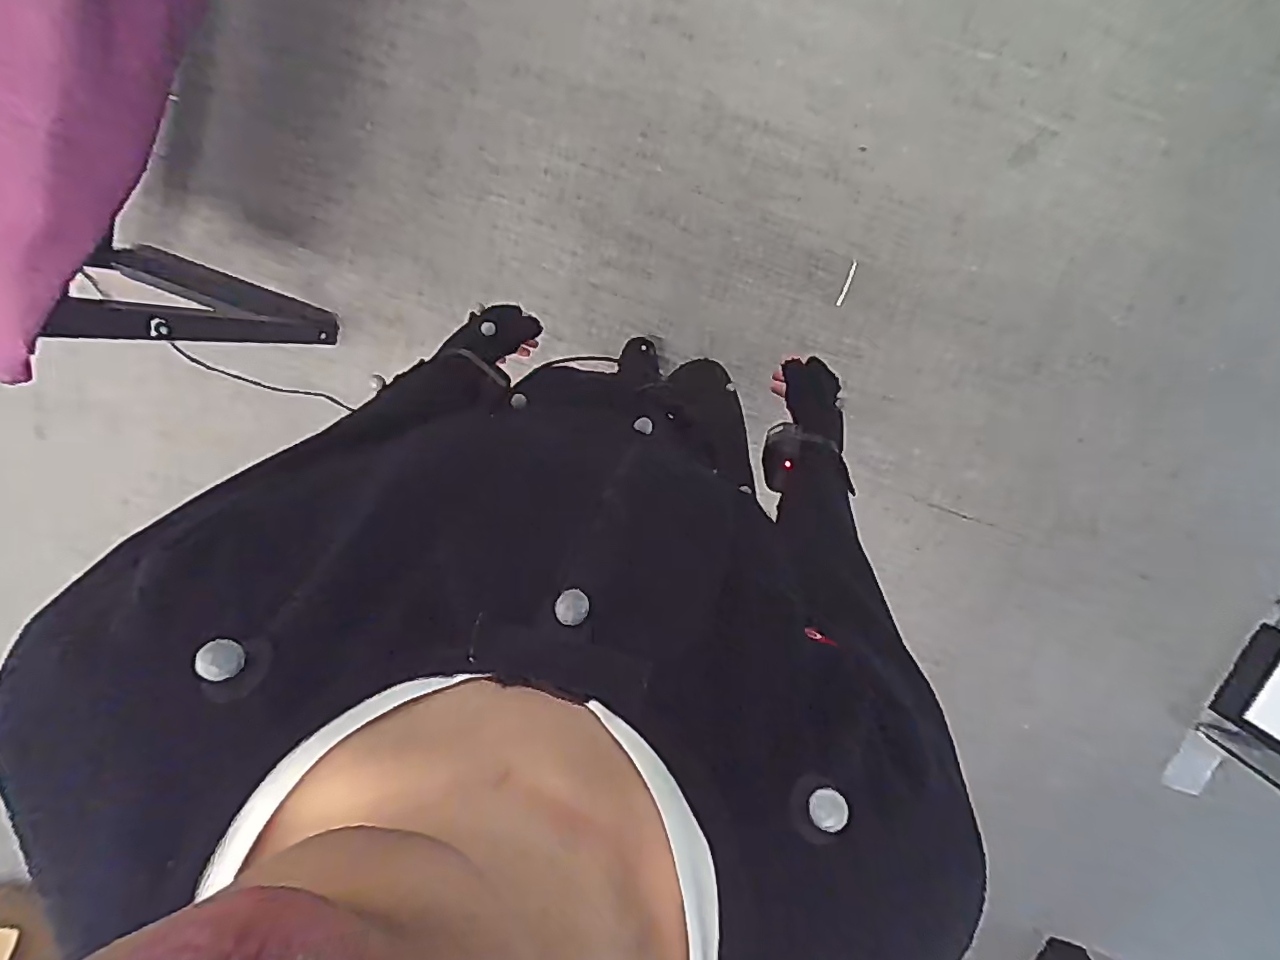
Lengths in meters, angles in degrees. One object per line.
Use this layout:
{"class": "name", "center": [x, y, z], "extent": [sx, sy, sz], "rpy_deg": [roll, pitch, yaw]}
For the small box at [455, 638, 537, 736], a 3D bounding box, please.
{"class": "small box", "center": [-0.406, 0.588, 1.551], "extent": [0.168, 0.176, 0.179], "rpy_deg": [17, 104, -2]}
